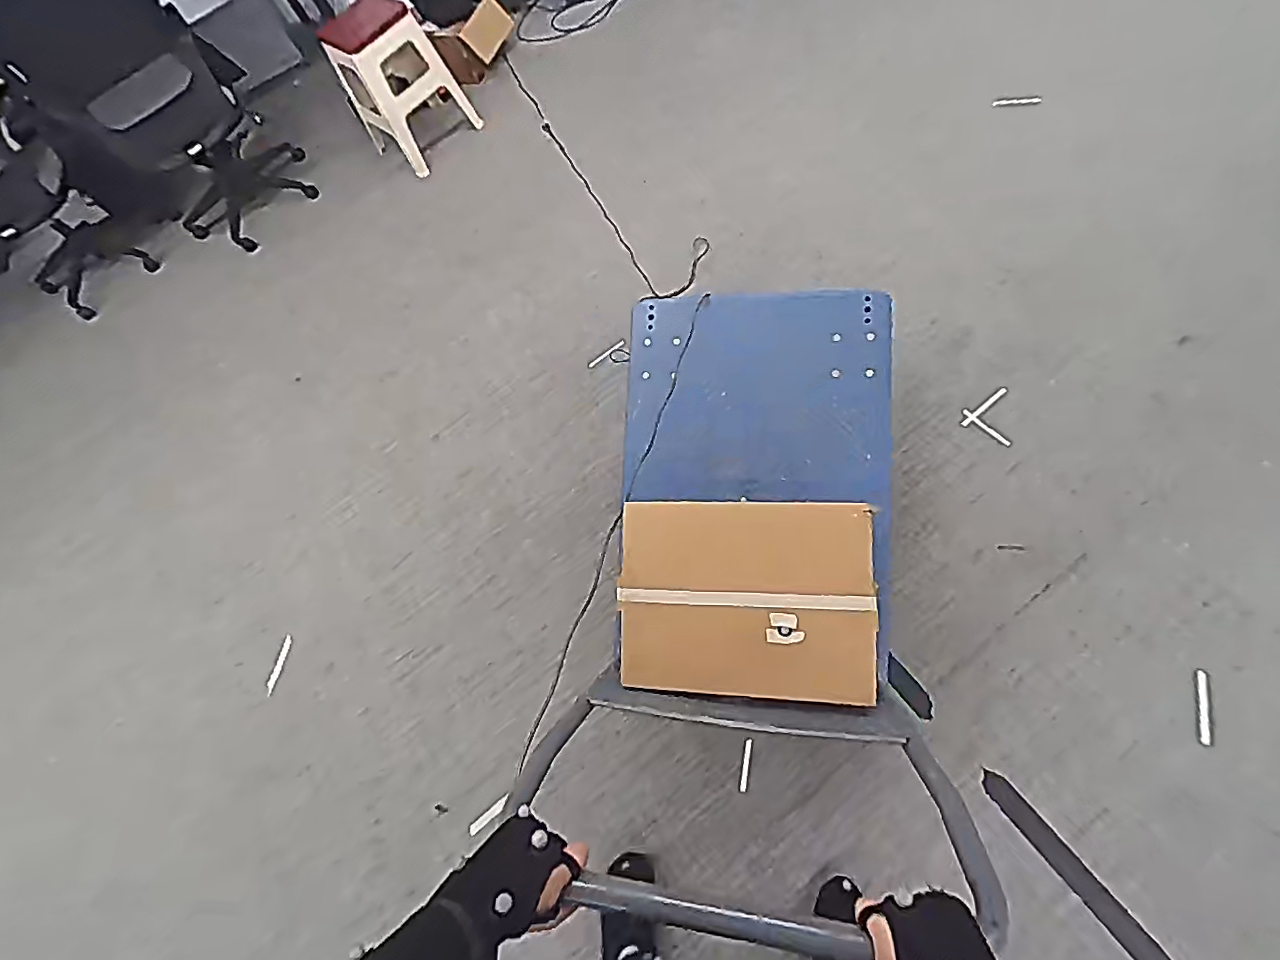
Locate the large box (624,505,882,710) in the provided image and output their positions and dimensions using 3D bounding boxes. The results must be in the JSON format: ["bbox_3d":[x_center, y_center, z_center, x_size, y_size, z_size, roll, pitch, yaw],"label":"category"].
[{"bbox_3d":[0.197,0.212,1.005,0.408,0.320,0.320,0,85,12],"label":"large box"}]
